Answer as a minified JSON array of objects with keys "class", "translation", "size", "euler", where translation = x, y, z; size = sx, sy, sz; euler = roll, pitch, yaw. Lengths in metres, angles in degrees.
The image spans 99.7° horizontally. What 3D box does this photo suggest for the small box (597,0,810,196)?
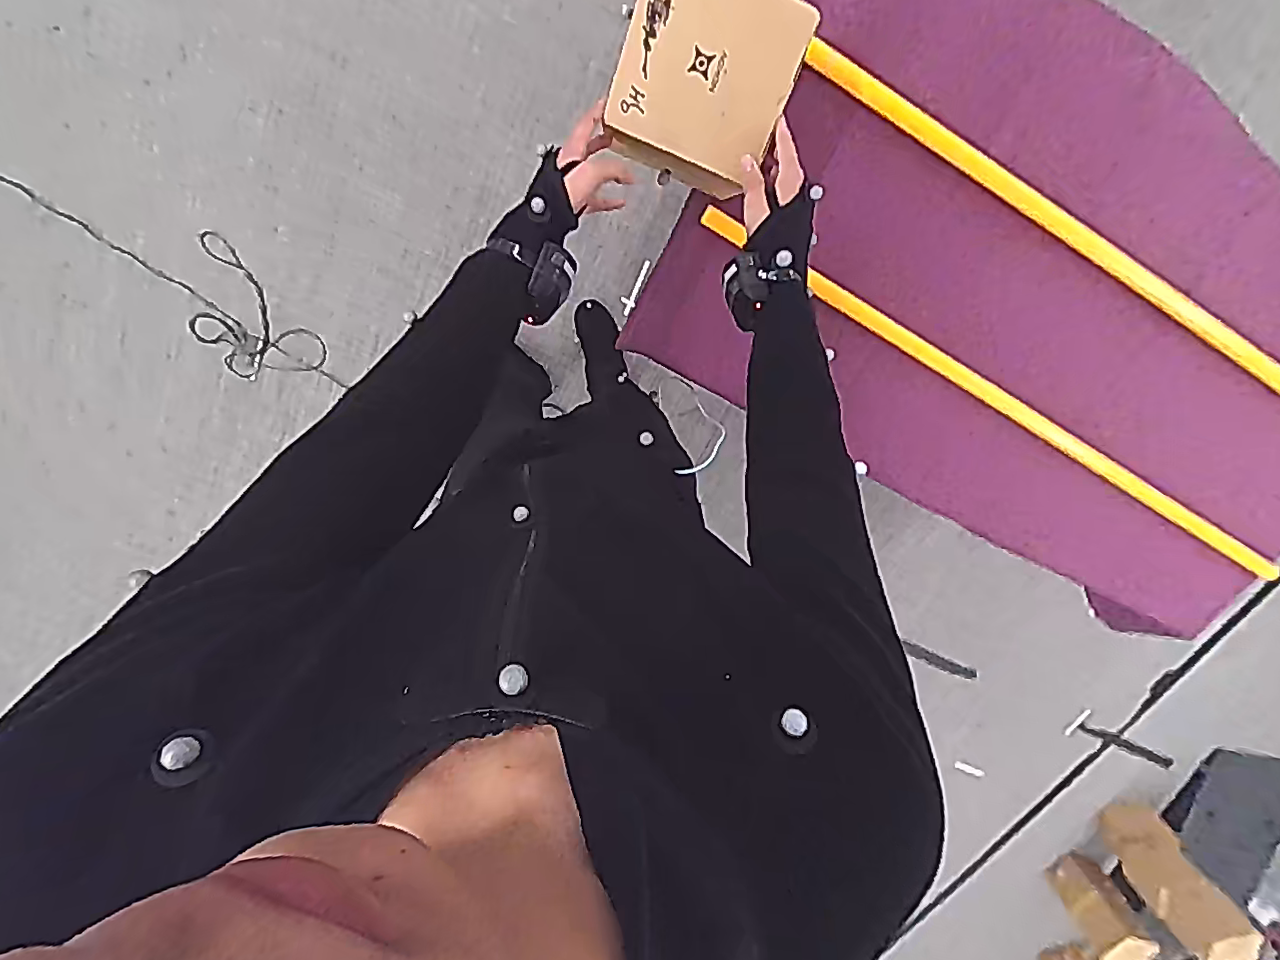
[{"class":"small box","translation":[0.059,-0.448,0.626],"size":[0.179,0.176,0.168],"euler":[18,113,-12]}]
